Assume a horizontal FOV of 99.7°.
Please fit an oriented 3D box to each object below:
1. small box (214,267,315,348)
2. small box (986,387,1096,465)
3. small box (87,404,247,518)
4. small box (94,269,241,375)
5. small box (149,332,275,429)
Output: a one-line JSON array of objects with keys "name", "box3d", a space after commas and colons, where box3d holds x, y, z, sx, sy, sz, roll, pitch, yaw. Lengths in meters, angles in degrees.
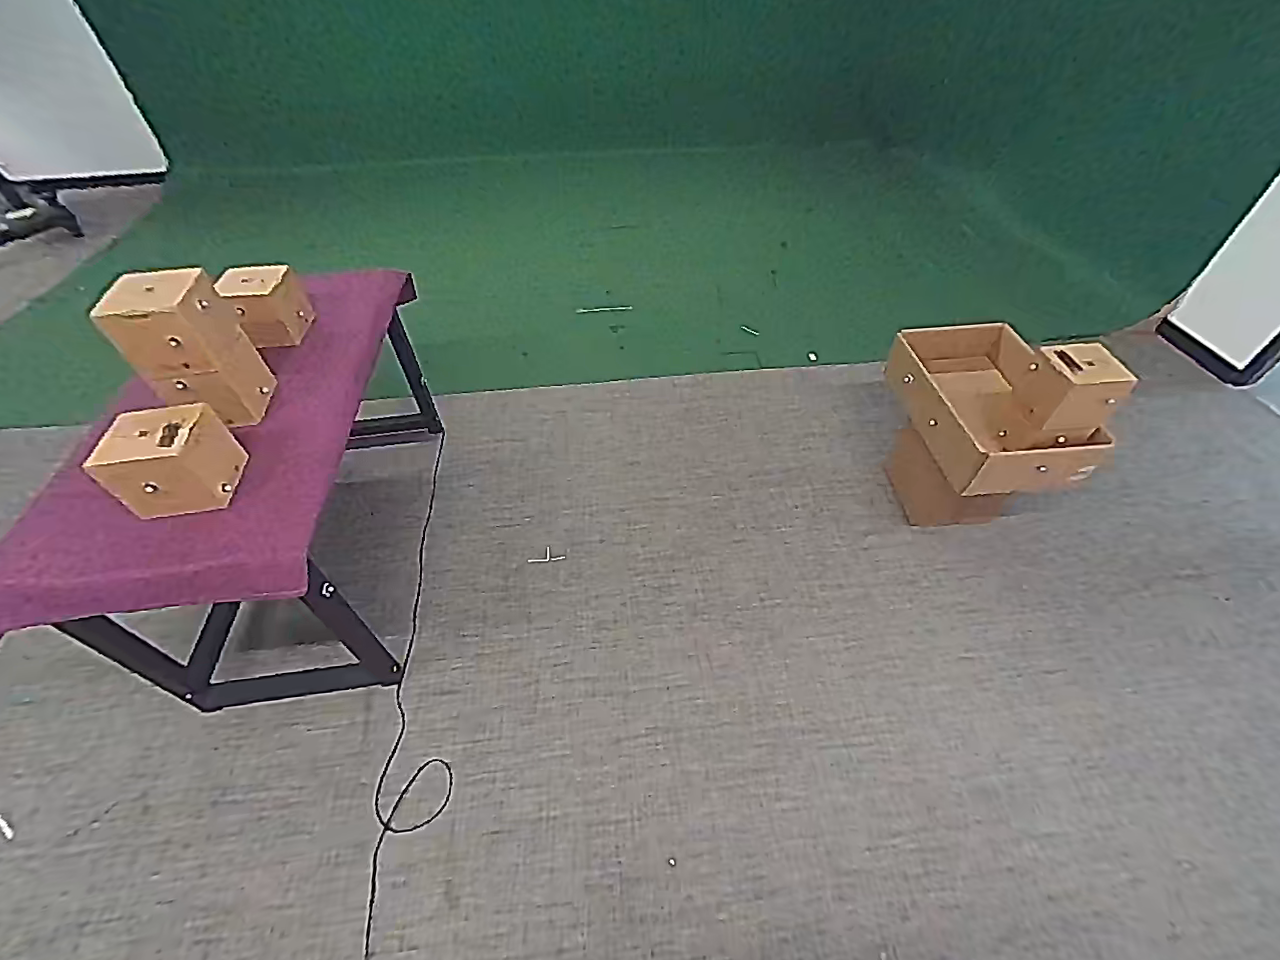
[{"name": "small box", "box3d": [-1.098, -0.501, 1.581, 0.179, 0.176, 0.168, -4, 49, -2]}, {"name": "small box", "box3d": [1.203, -0.162, 1.638, 0.179, 0.176, 0.168, -4, 50, -1]}, {"name": "small box", "box3d": [-1.000, -0.040, 1.166, 0.179, 0.176, 0.168, -9, 48, -5]}, {"name": "small box", "box3d": [-1.055, -0.352, 1.229, 0.168, 0.176, 0.179, -8, 49, -7]}, {"name": "small box", "box3d": [-1.053, -0.245, 1.353, 0.168, 0.176, 0.179, -9, 48, -6]}]
